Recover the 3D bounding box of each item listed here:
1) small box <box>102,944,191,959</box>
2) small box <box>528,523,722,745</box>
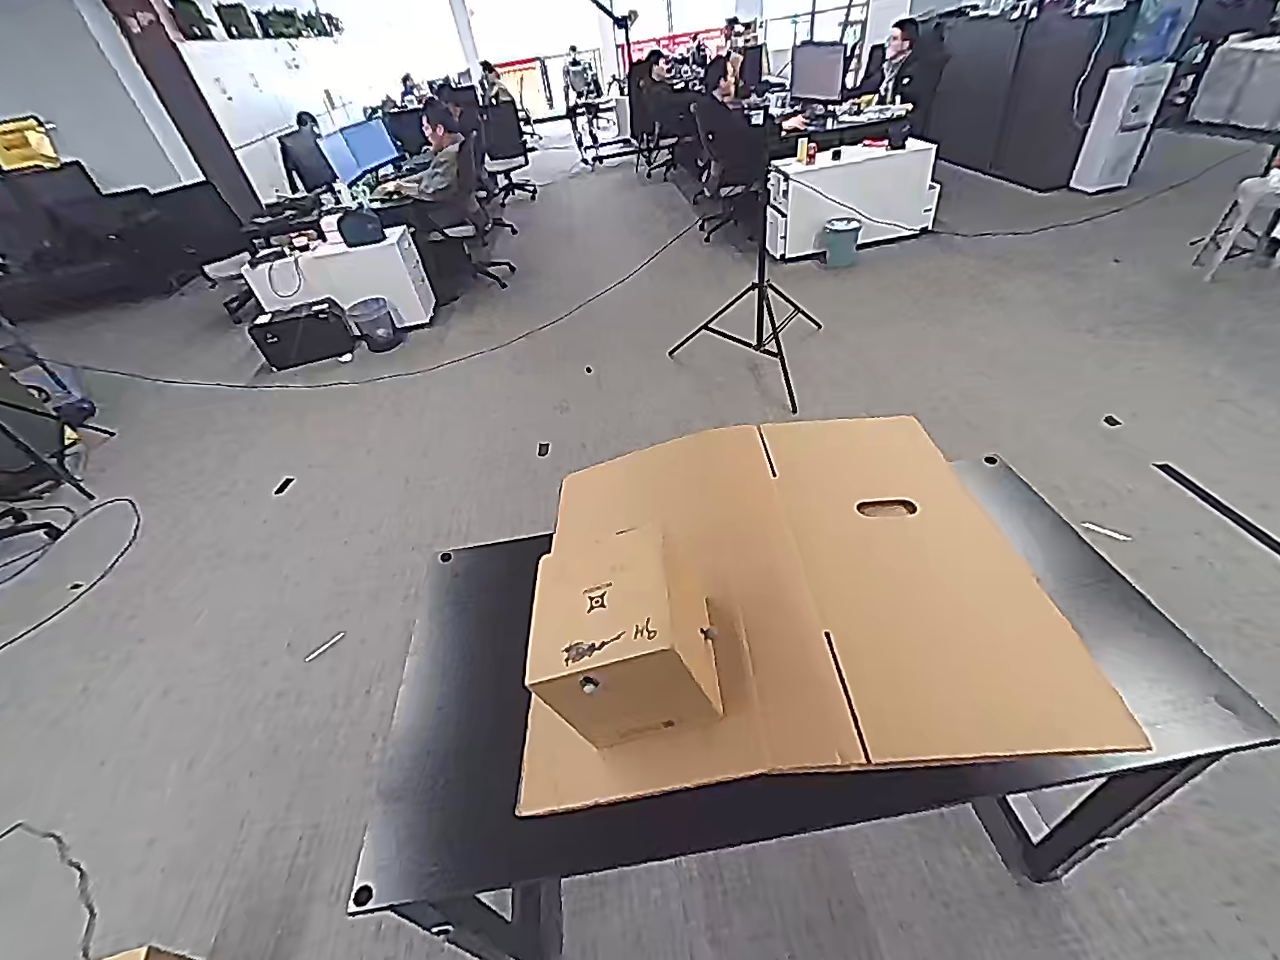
[{"bbox_3d":[-0.962,1.007,0.997,0.168,0.176,0.179,-14,39,-6],"label":"small box"},{"bbox_3d":[-0.012,0.186,0.651,0.168,0.176,0.179,-19,38,13],"label":"small box"}]
